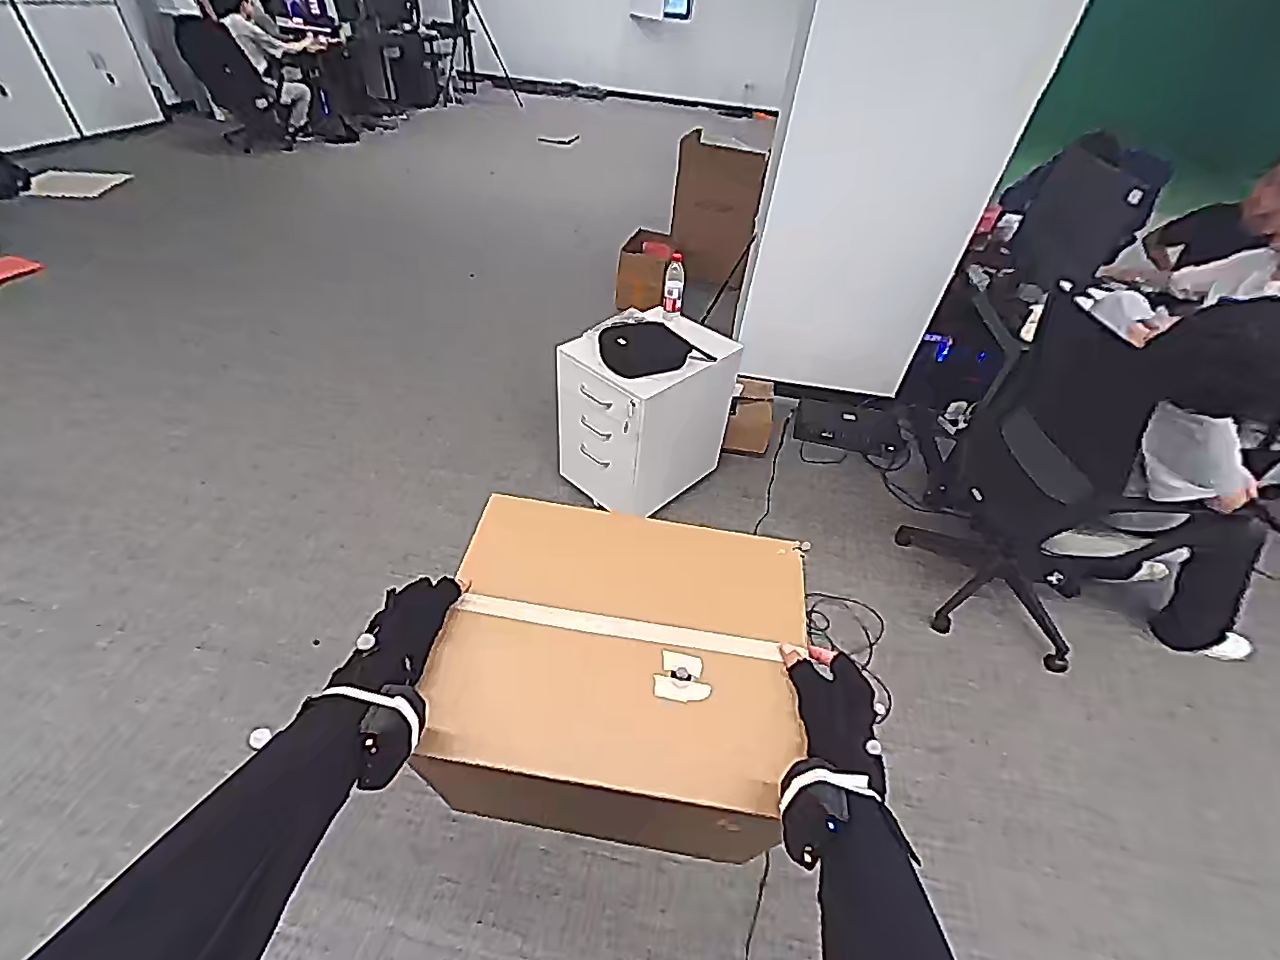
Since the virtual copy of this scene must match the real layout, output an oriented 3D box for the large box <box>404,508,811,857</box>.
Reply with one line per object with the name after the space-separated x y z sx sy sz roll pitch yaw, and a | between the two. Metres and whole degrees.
-0.029 0.273 0.723 0.408 0.320 0.320 9 49 1 | large box
